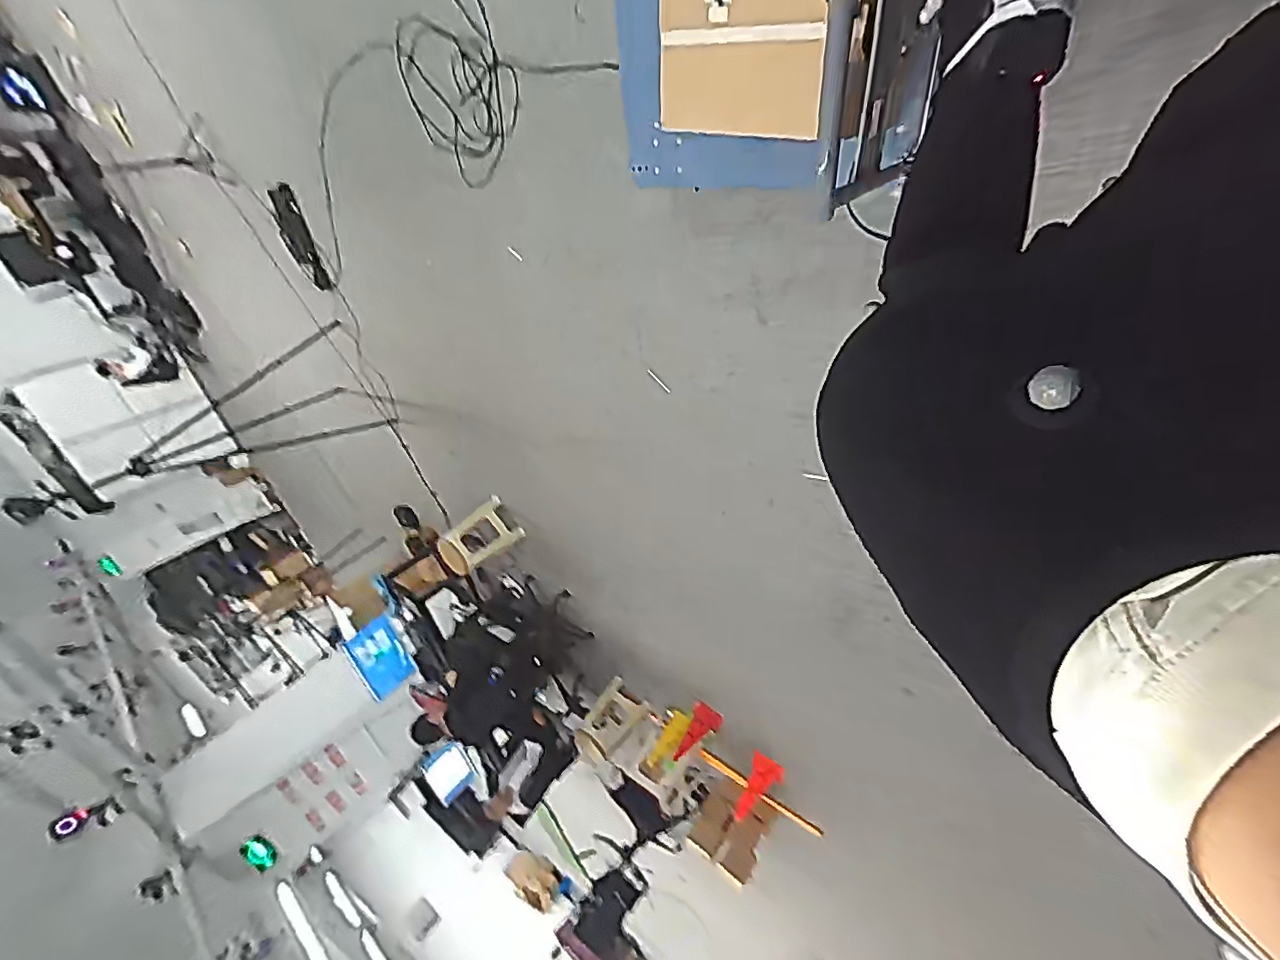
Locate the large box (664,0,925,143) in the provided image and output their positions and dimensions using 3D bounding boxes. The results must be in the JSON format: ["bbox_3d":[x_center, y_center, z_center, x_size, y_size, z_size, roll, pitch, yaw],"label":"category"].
[{"bbox_3d":[0.300,-0.873,1.066,0.408,0.320,0.320,26,135,30],"label":"large box"}]
